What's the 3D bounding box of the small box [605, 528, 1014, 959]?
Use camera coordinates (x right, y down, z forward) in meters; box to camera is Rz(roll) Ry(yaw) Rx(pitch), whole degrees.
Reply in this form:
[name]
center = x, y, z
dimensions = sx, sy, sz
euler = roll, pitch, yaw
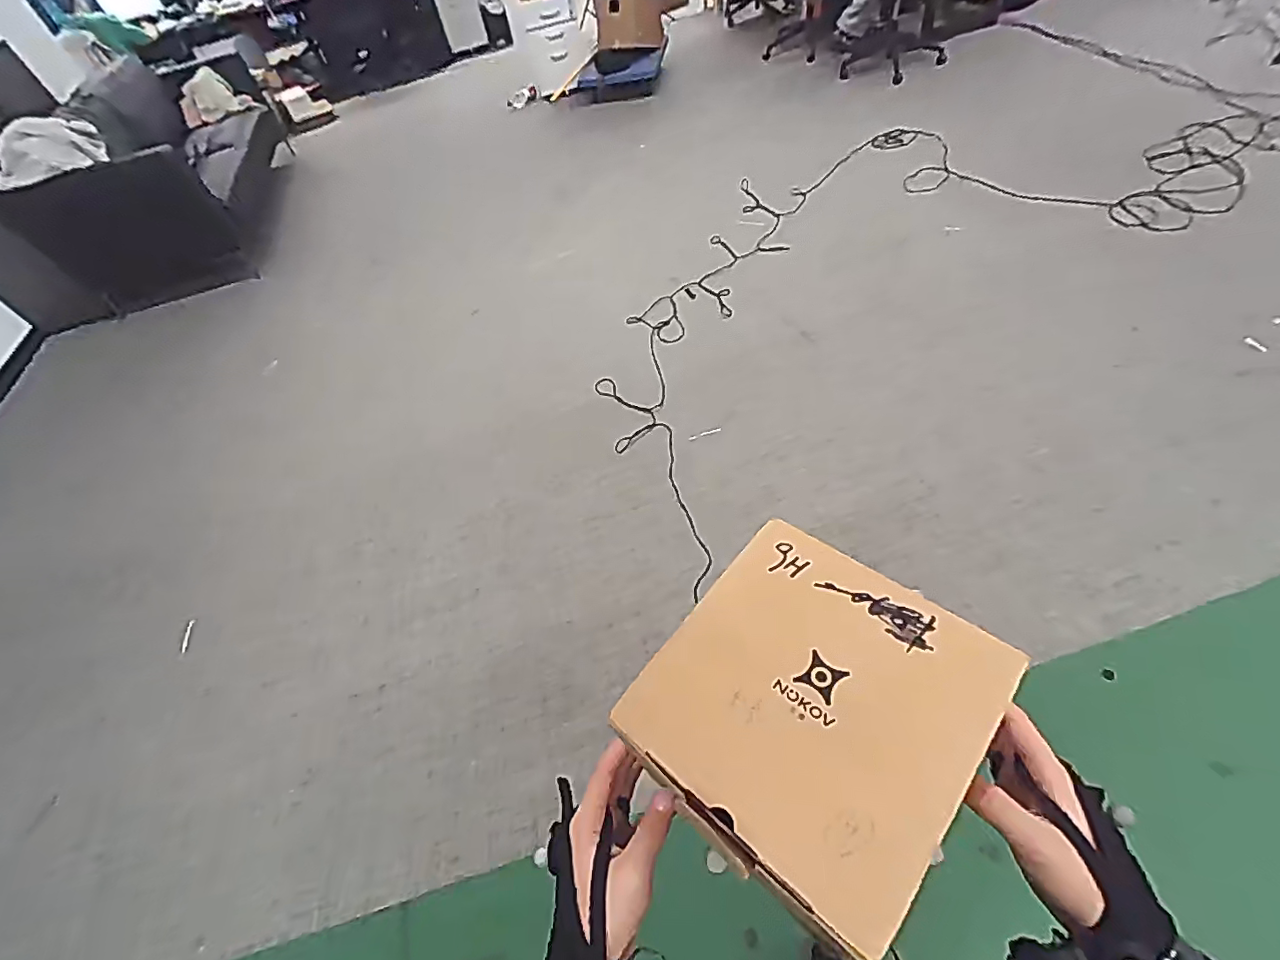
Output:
[small box]
center = 0.108, 0.173, 0.369
dimensions = 0.168, 0.176, 0.179
euler = 31, 64, 32
